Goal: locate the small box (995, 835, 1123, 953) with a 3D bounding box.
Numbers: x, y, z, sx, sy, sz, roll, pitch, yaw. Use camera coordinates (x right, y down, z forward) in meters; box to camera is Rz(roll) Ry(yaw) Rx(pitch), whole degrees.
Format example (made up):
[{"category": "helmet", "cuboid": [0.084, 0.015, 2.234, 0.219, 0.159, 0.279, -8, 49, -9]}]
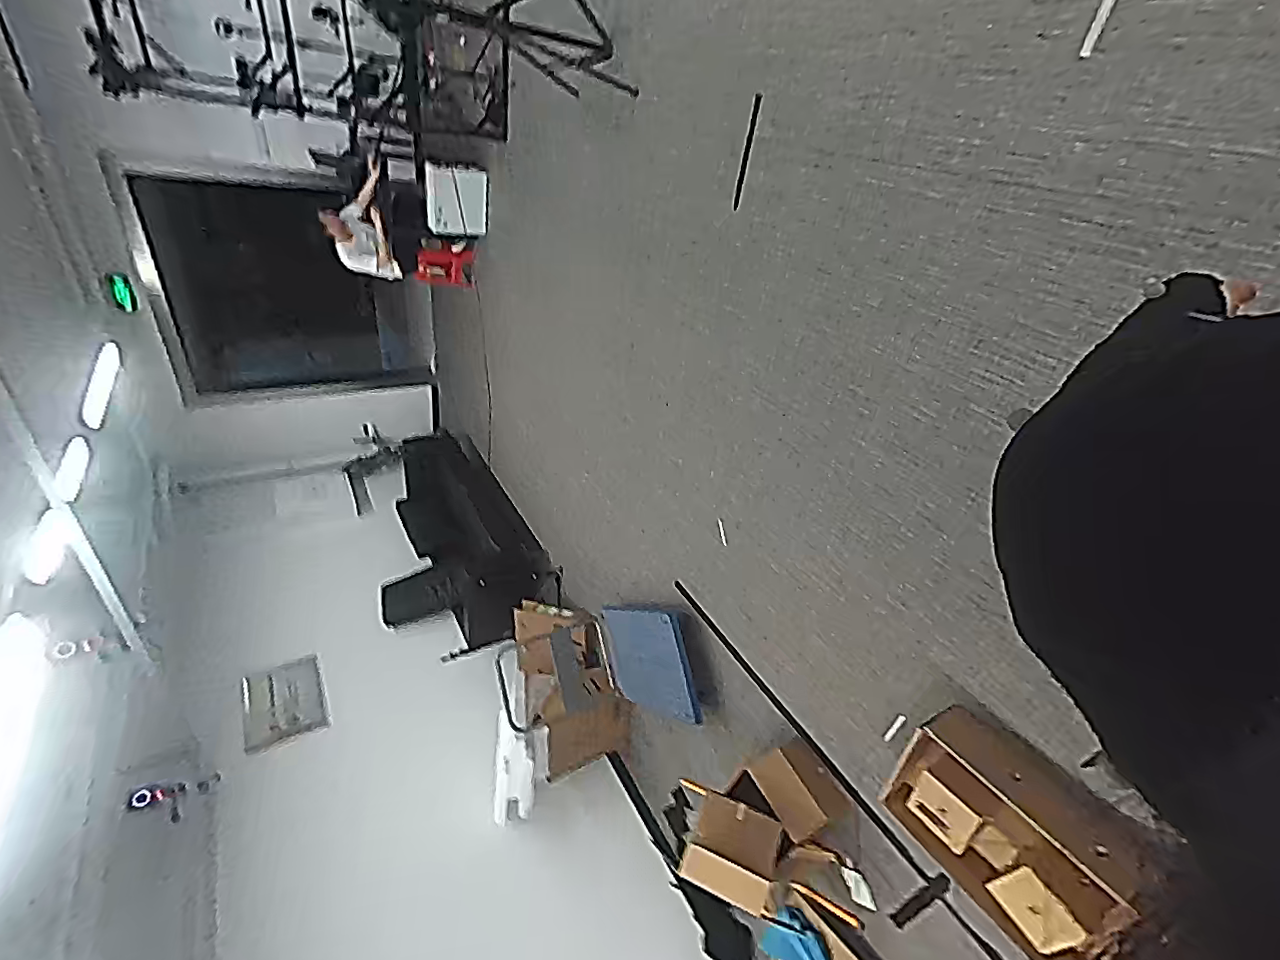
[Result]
[{"category": "small box", "cuboid": [1.080, 1.064, 1.394, 0.168, 0.176, 0.179, 52, 142, 38]}]
